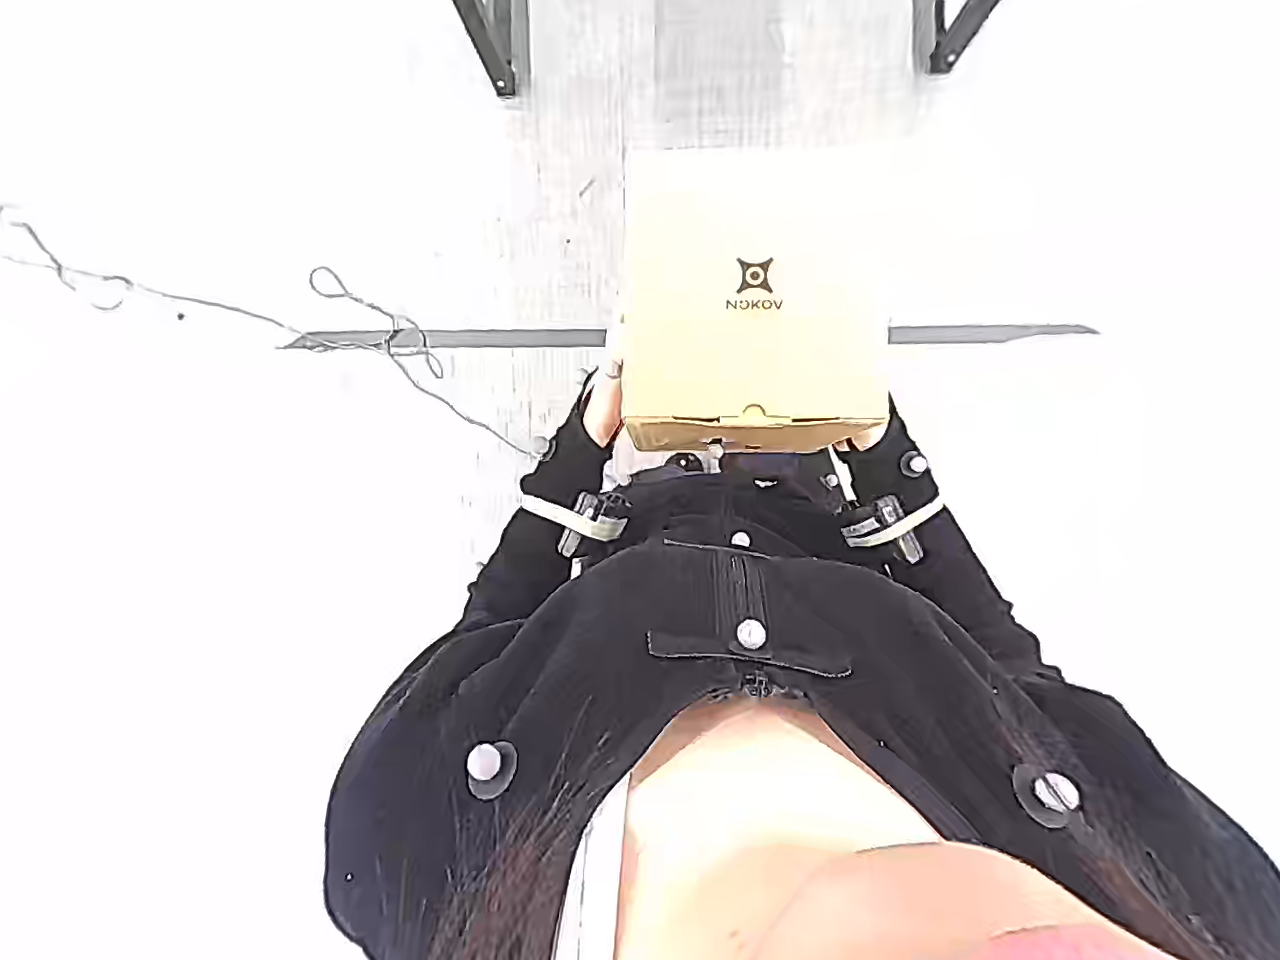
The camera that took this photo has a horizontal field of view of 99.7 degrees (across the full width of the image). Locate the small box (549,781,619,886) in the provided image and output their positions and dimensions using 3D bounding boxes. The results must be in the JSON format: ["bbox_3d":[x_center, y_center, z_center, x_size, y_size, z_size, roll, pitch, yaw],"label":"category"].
[{"bbox_3d":[-0.147,0.947,1.458,0.168,0.176,0.179,-1,92,2],"label":"small box"}]

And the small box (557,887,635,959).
[{"bbox_3d":[-0.114,1.253,1.472,0.179,0.176,0.168,-6,94,4],"label":"small box"}]

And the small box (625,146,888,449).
[{"bbox_3d":[0.074,-0.121,0.418,0.168,0.176,0.179,0,88,2],"label":"small box"}]
